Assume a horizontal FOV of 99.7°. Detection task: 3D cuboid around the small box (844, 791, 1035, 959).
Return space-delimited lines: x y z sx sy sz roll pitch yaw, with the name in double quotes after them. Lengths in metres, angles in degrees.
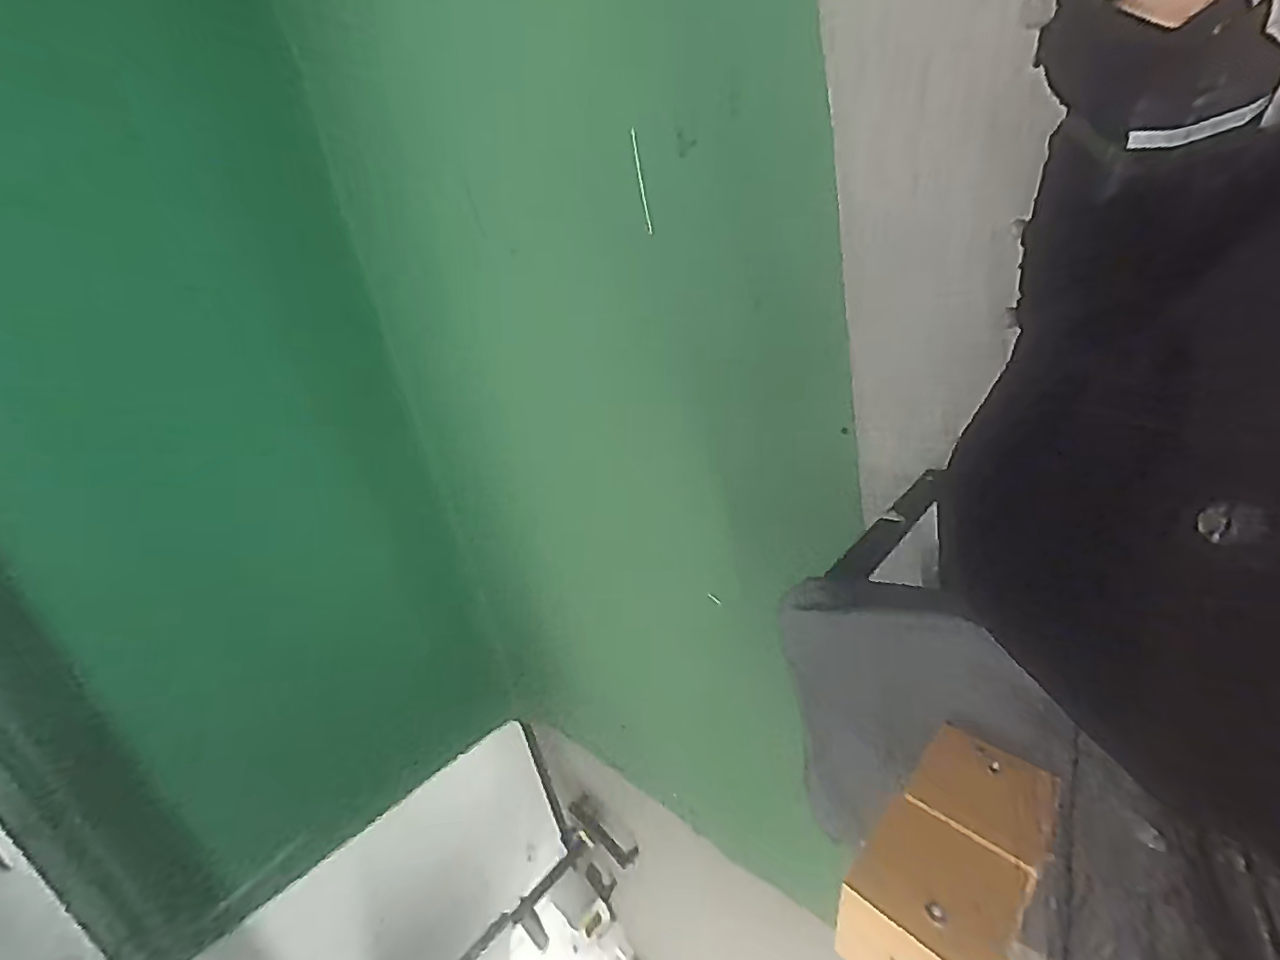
0.403 0.575 0.734 0.179 0.176 0.168 20 125 42 "small box"
